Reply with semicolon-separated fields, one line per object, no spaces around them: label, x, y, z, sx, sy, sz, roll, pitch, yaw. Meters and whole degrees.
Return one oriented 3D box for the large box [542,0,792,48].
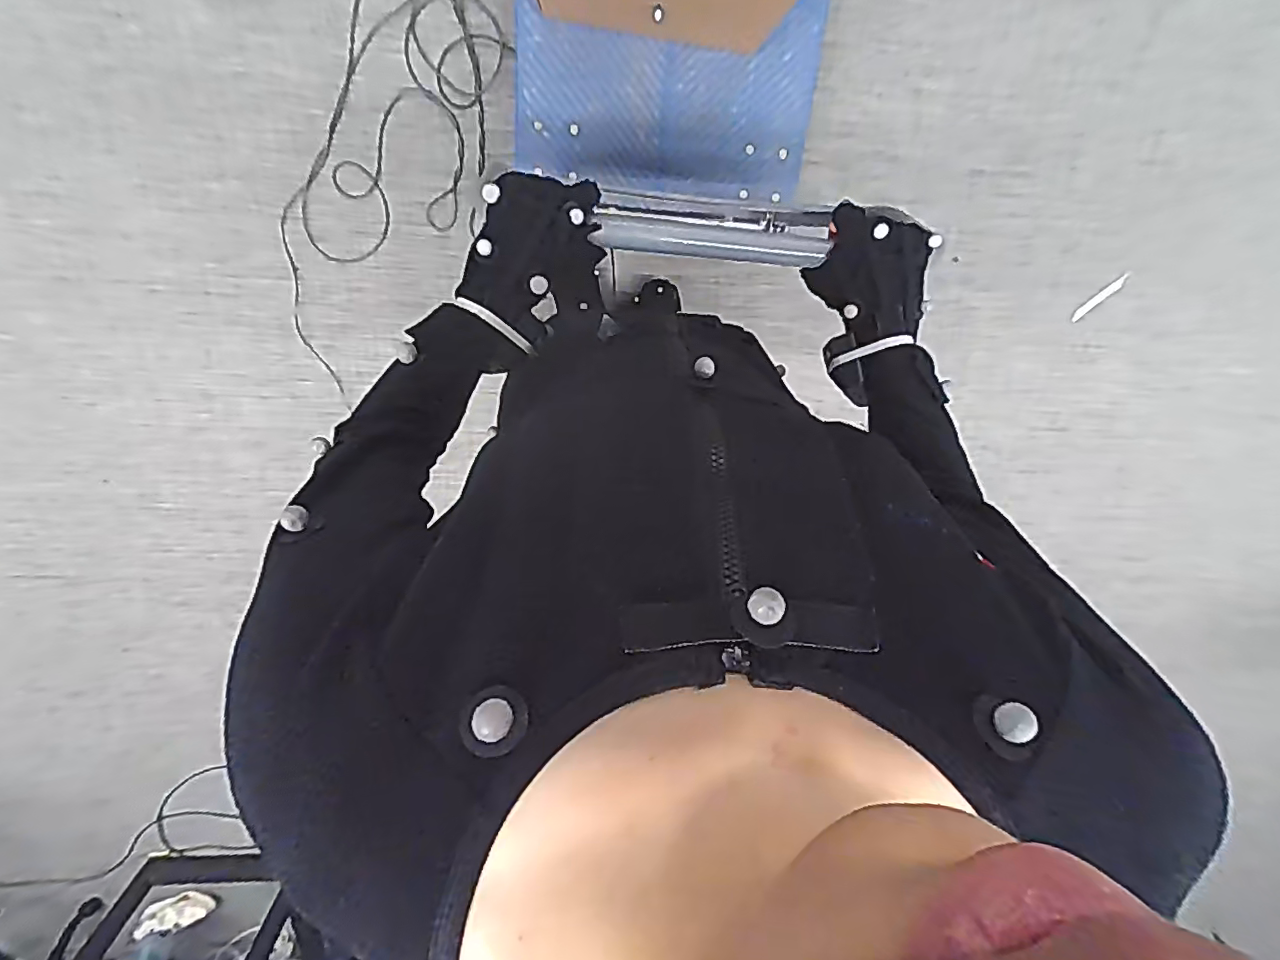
large box;0.047;-0.912;0.818;0.408;0.320;0.320;5;112;-6
